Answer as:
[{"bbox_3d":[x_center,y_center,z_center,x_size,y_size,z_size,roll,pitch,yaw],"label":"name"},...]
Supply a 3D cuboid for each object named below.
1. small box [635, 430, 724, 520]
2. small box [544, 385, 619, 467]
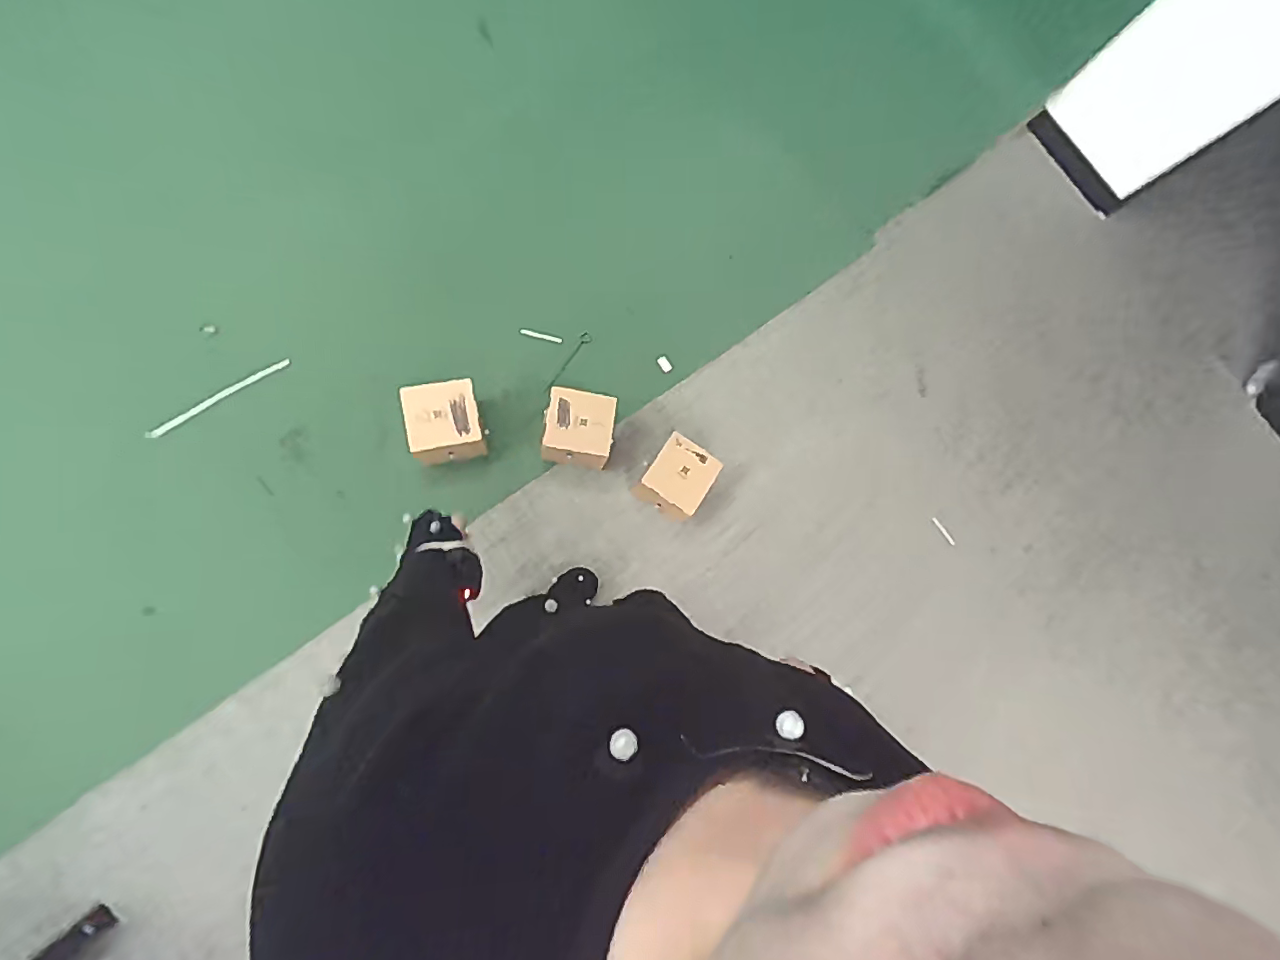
[{"bbox_3d":[0.101,-0.006,1.504,0.168,0.176,0.179,36,76,-3],"label":"small box"},{"bbox_3d":[-0.165,-0.140,1.478,0.179,0.176,0.168,10,78,-10],"label":"small box"}]
